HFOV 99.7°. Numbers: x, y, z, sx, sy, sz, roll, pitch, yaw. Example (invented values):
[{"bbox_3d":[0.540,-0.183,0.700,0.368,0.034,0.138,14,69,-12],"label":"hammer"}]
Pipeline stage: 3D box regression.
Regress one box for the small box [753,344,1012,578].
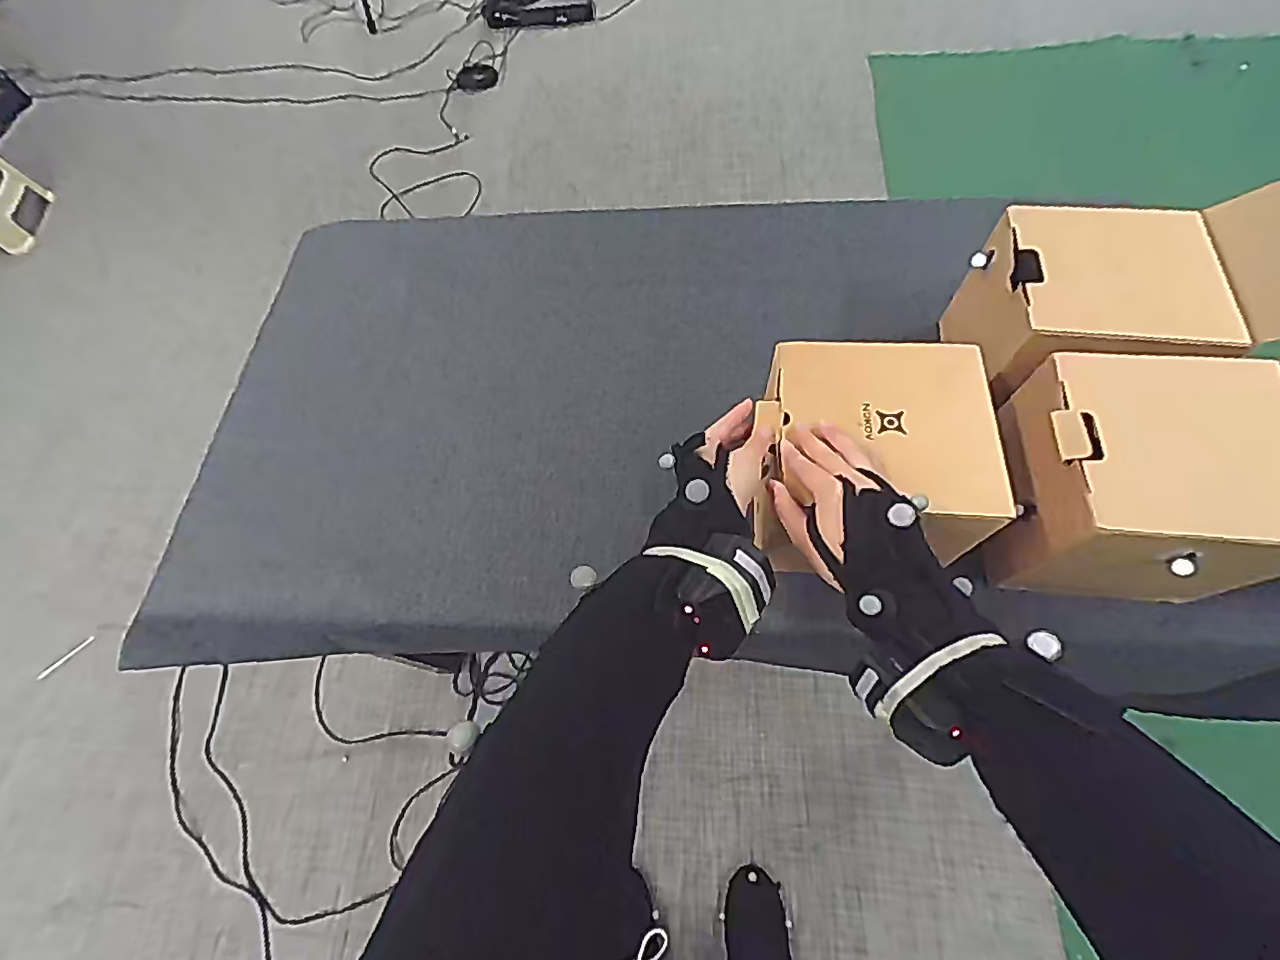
[{"bbox_3d":[0.207,-0.009,0.516,0.179,0.176,0.168,3,64,8],"label":"small box"}]
